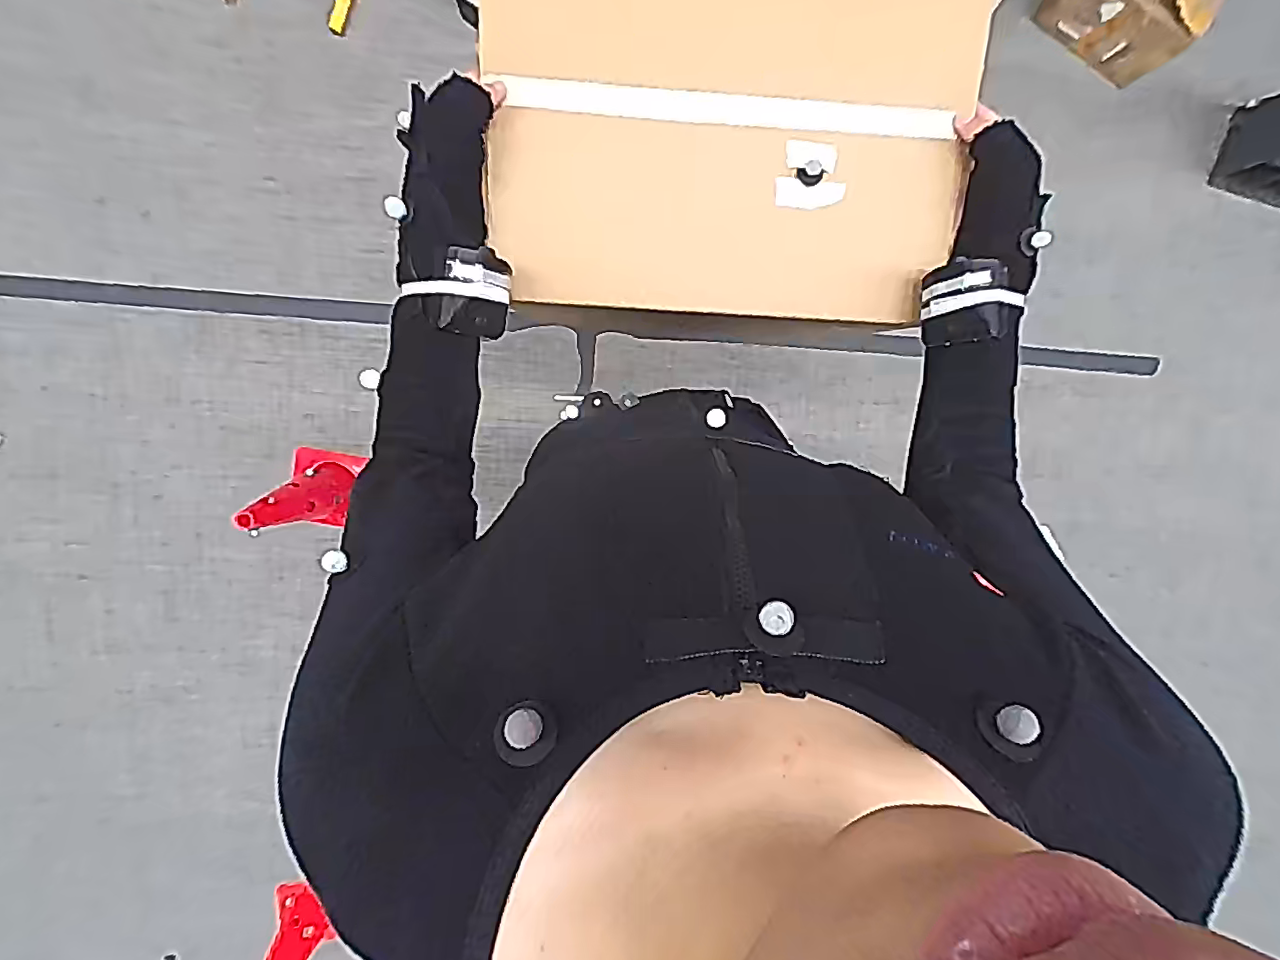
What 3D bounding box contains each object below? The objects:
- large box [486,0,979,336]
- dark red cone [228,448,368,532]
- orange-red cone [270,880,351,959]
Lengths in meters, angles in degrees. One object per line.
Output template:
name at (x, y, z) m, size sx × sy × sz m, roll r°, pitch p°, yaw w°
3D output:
large box at (0.064, -0.332, 0.591) m, size 0.408 × 0.320 × 0.320 m, roll 2°, pitch 102°, yaw -5°
dark red cone at (-0.796, 0.051, 1.235) m, size 0.201 × 0.394 × 0.202 m, roll 9°, pitch 99°, yaw -6°
orange-red cone at (-0.965, 1.322, 1.456) m, size 0.198 × 0.360 × 0.199 m, roll 1°, pitch 101°, yaw -3°
